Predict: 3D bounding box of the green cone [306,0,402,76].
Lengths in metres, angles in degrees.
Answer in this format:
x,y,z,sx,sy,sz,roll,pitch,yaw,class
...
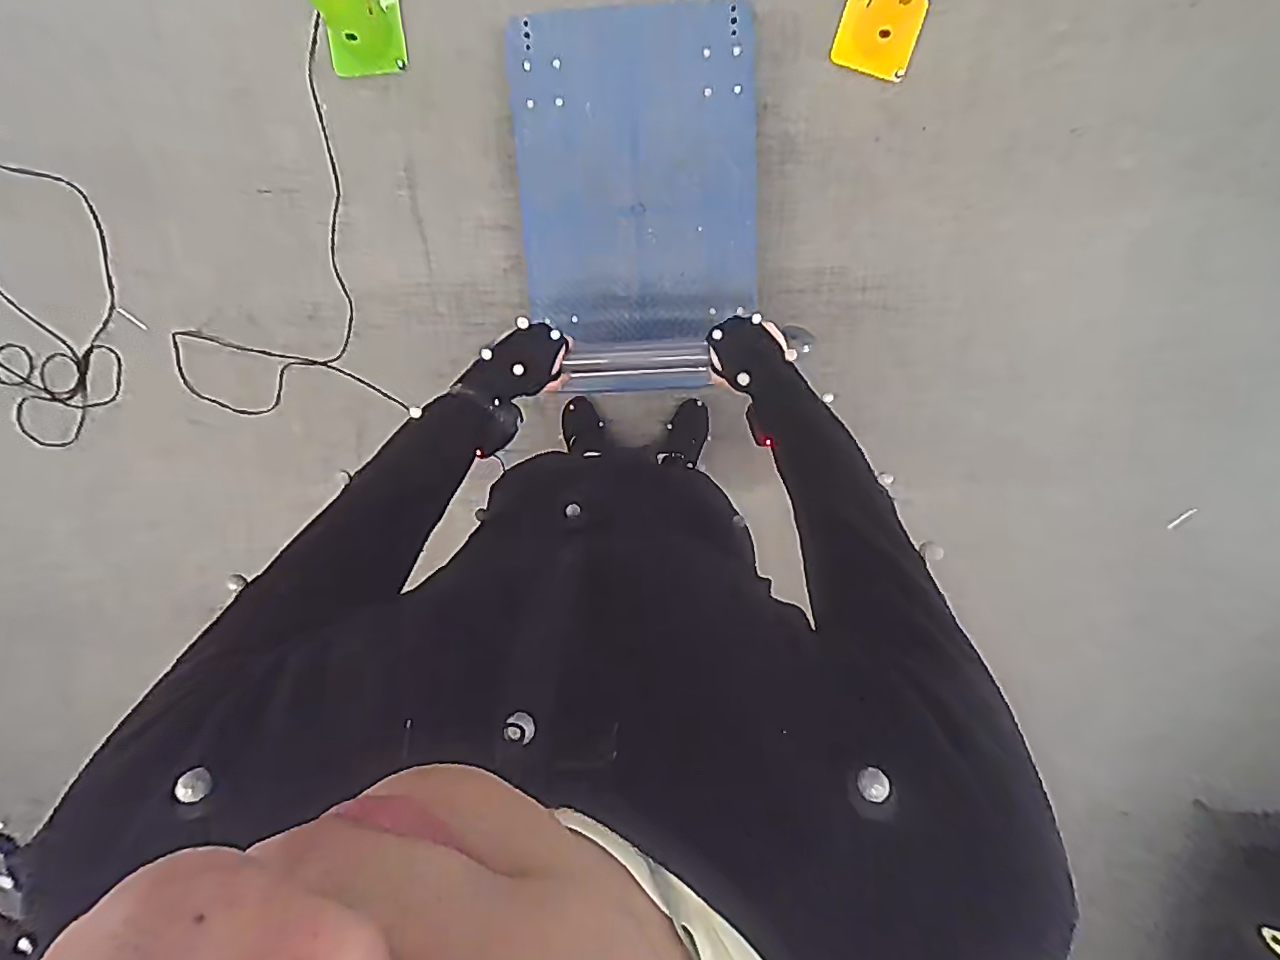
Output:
x,y,z,sx,sy,sz,roll,pitch,yaw,class
-0.734,-1.134,1.233,0.202,0.368,0.200,-4,101,4,green cone
